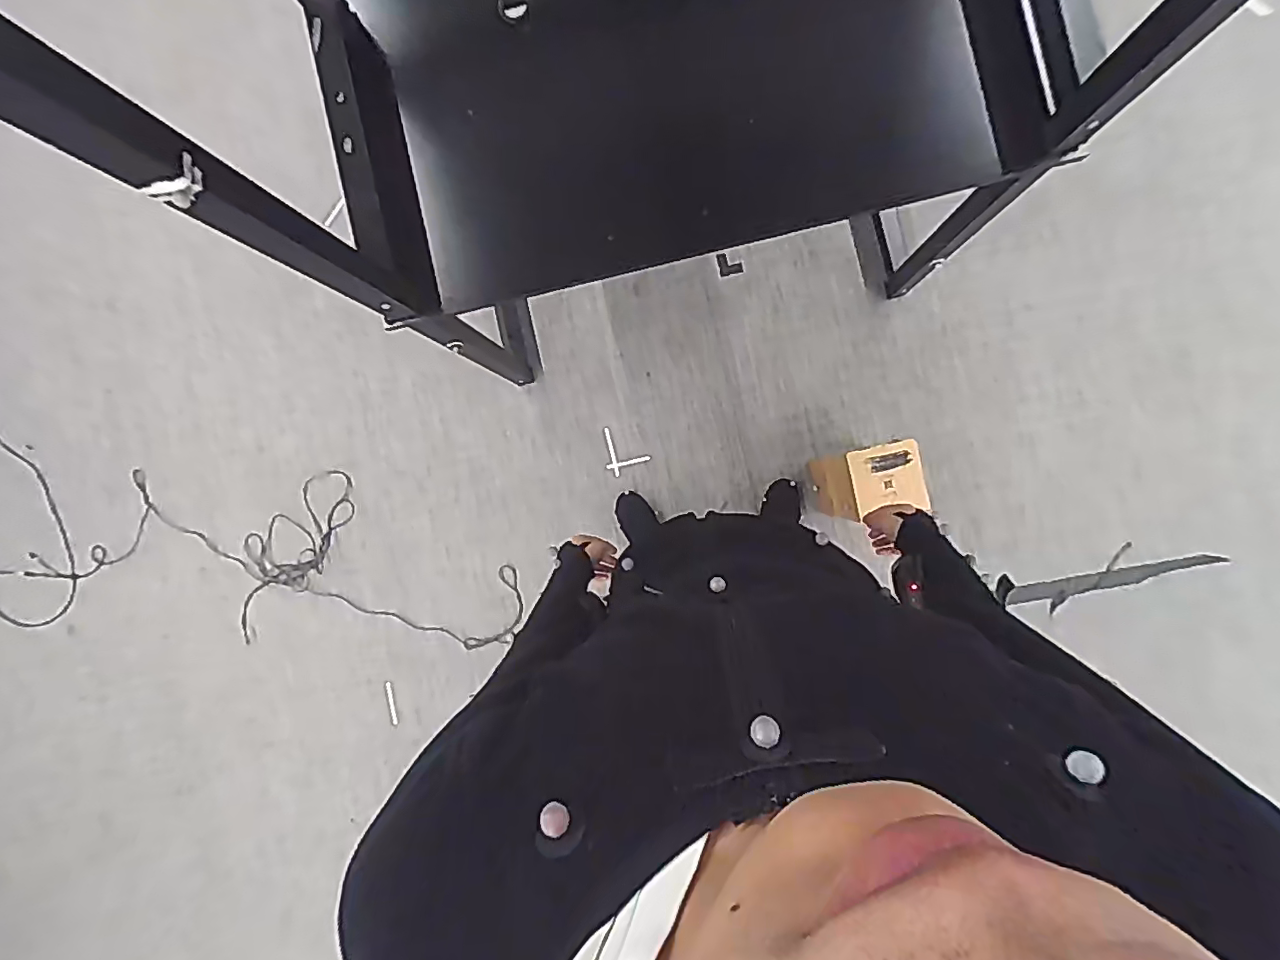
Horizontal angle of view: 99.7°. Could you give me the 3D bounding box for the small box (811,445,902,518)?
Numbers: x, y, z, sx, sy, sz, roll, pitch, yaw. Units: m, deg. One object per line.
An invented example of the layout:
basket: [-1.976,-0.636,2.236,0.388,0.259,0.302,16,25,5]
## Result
small box: [0.600,0.002,1.516,0.179,0.176,0.168,-14,89,6]
